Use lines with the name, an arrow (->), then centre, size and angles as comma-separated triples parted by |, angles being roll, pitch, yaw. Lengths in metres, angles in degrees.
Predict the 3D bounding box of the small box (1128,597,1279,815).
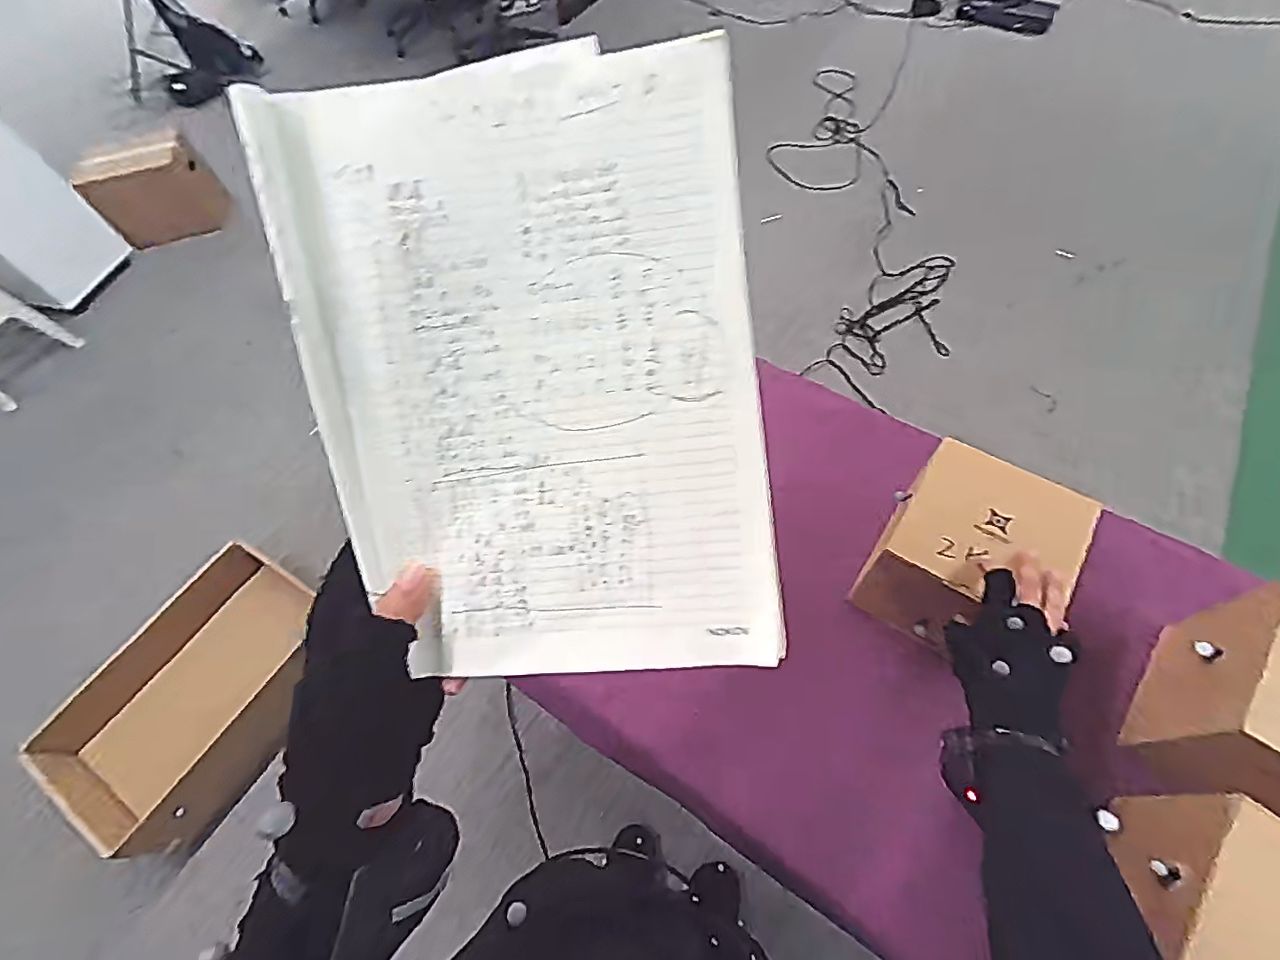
small box -> 0.634, 0.238, 0.521 | 0.168, 0.176, 0.179 | 35, 68, 23

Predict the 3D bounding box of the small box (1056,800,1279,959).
small box -> 0.495, 0.396, 0.442 | 0.168, 0.176, 0.179 | 38, 70, 25

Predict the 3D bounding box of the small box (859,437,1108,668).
small box -> 0.382, 0.090, 0.632 | 0.168, 0.176, 0.179 | 31, 68, 21
